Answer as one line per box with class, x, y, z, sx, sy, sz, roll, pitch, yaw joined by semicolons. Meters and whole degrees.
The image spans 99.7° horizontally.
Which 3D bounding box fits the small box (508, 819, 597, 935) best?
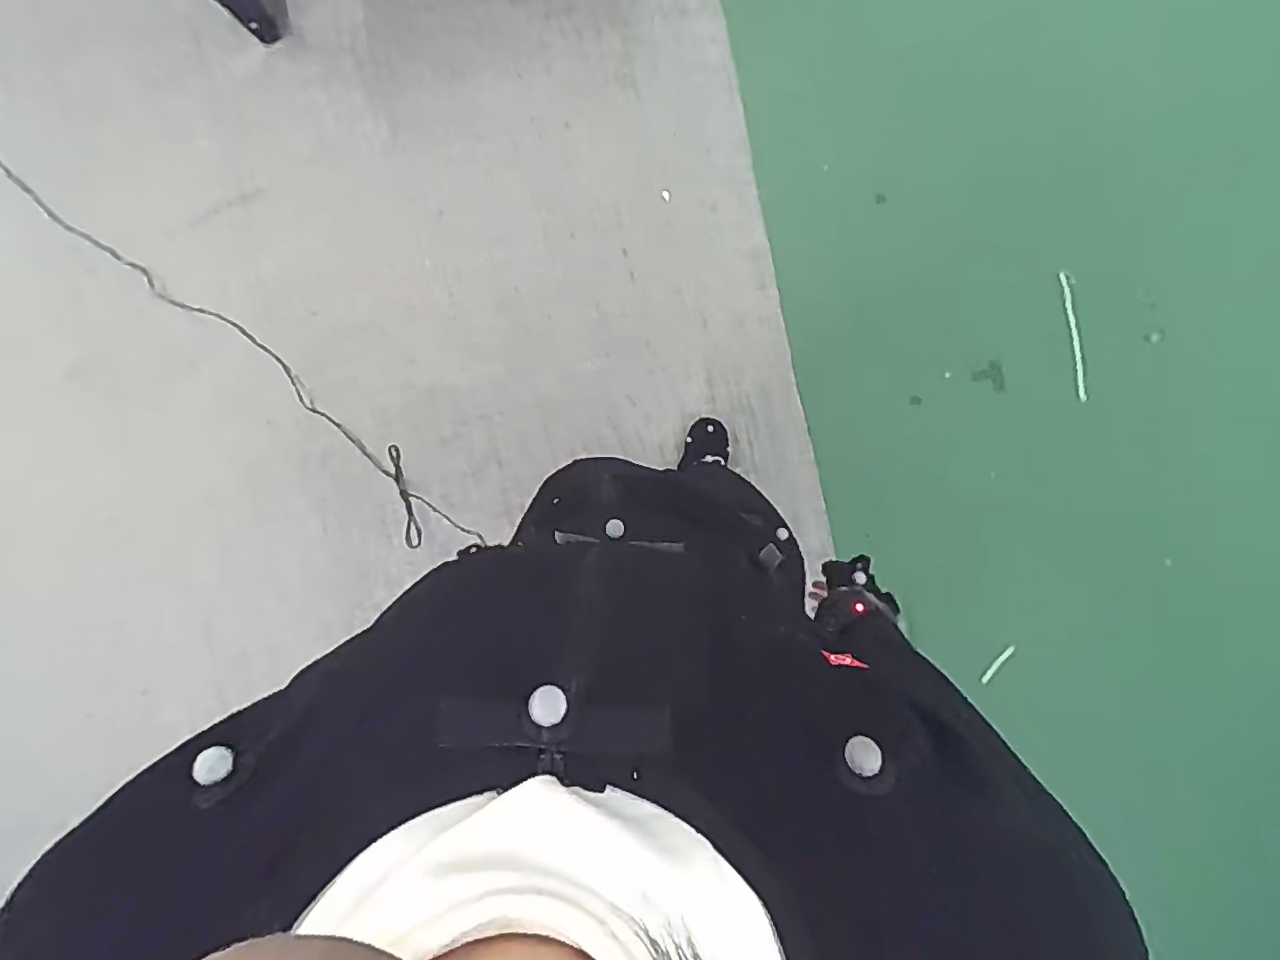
small box;-0.215;1.018;1.400;0.179;0.176;0.168;-15;95;6
